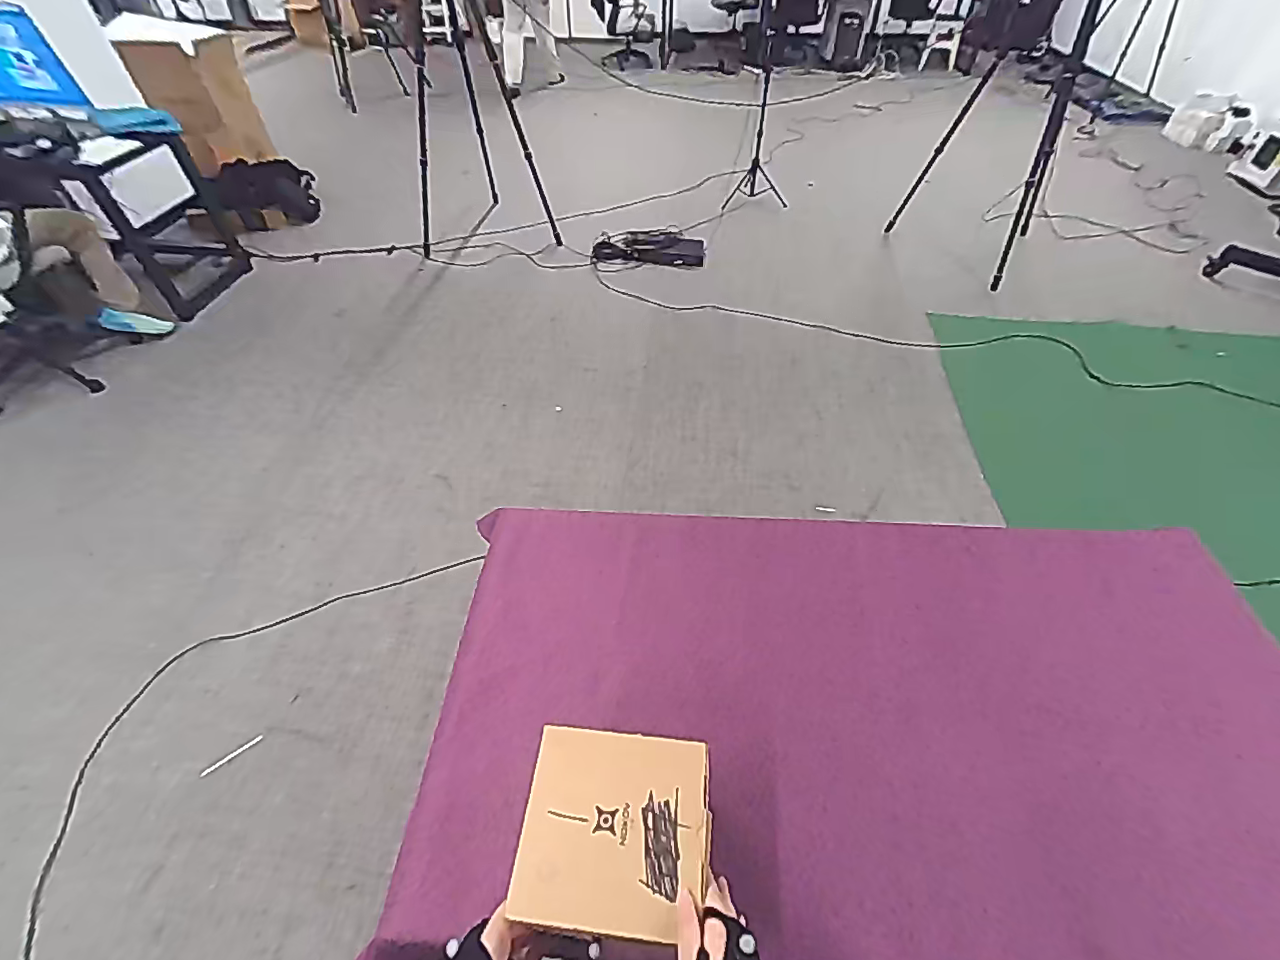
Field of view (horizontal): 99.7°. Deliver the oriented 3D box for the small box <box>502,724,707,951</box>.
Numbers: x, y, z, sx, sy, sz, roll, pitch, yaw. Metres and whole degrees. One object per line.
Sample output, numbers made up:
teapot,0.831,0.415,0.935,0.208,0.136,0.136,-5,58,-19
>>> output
small box,-0.025,0.383,0.577,0.179,0.176,0.168,4,47,5
